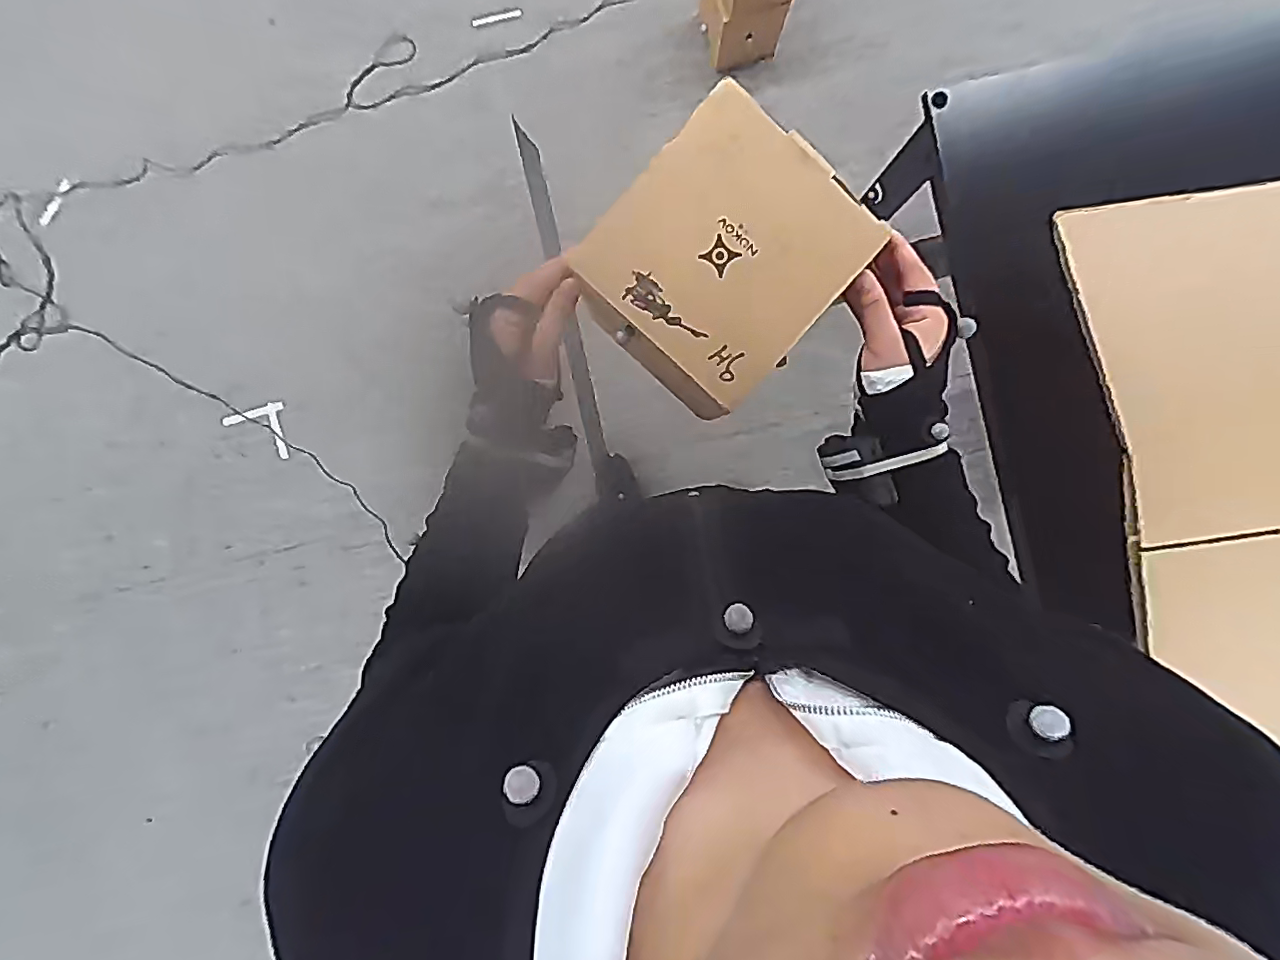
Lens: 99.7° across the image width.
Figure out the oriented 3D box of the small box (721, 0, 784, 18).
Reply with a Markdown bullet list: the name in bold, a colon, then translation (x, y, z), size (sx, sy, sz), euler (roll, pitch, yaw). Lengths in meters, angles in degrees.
- **small box**: translation (0.266, -1.222, 1.239), size (0.179, 0.176, 0.168), euler (-20, 92, -1)

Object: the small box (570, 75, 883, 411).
- **small box**: translation (0.061, -0.180, 0.472), size (0.168, 0.176, 0.179), euler (42, 92, -2)

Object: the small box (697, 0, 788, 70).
- **small box**: translation (0.259, -1.222, 1.402), size (0.179, 0.176, 0.168), euler (-18, 91, 1)
